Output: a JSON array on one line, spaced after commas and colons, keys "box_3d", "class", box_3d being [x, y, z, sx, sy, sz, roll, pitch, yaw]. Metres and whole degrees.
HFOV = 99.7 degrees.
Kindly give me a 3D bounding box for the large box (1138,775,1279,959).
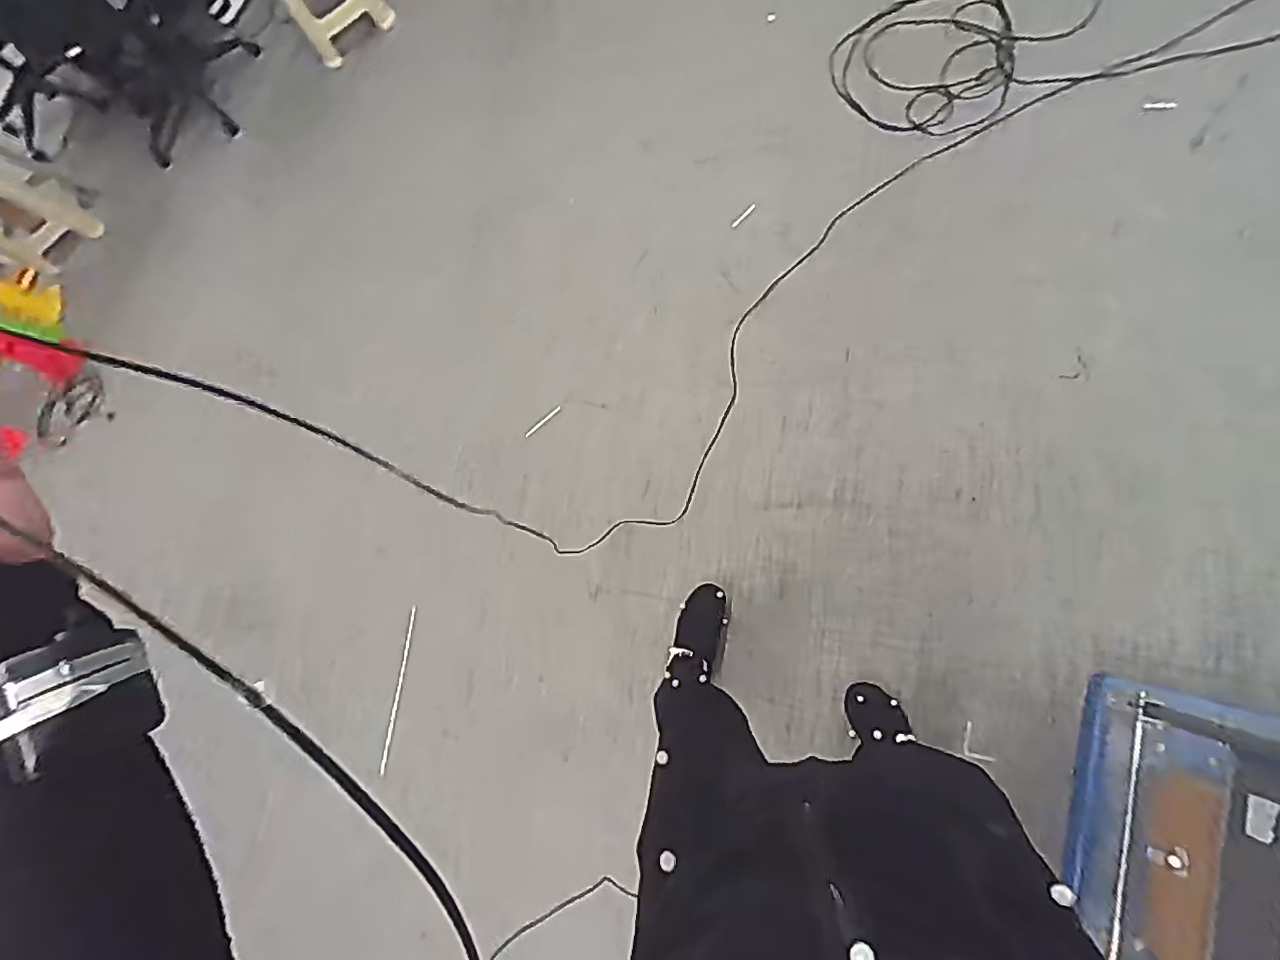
[{"box_3d": [1.081, 0.702, 0.811, 0.408, 0.320, 0.320, 11, 81, 16], "class": "large box"}]
